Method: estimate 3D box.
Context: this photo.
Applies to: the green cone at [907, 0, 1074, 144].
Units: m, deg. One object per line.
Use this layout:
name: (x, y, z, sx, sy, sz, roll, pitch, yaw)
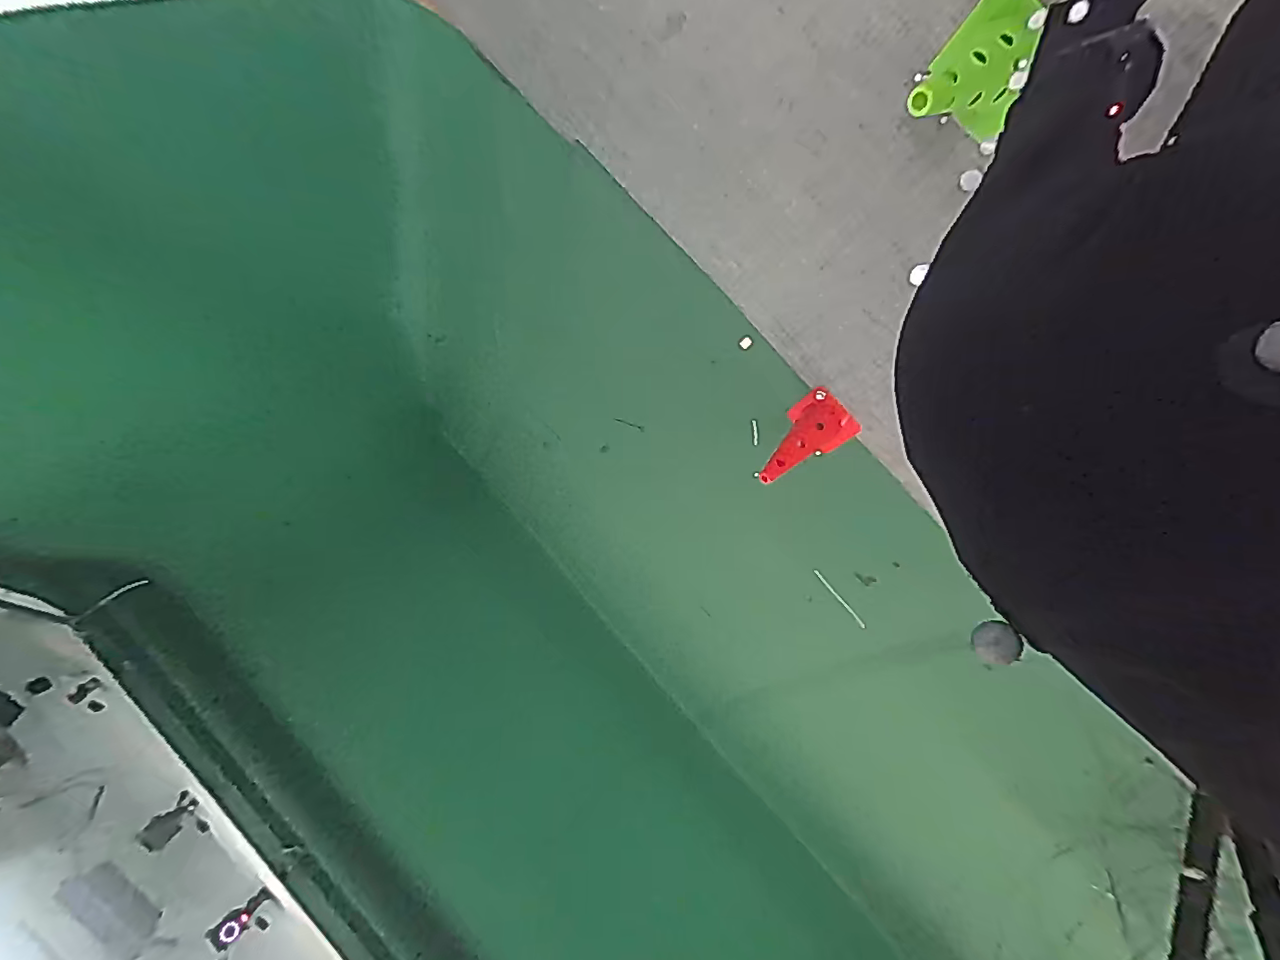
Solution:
green cone: (0.565, -0.702, 0.957, 0.200, 0.368, 0.202, 47, 149, 4)
